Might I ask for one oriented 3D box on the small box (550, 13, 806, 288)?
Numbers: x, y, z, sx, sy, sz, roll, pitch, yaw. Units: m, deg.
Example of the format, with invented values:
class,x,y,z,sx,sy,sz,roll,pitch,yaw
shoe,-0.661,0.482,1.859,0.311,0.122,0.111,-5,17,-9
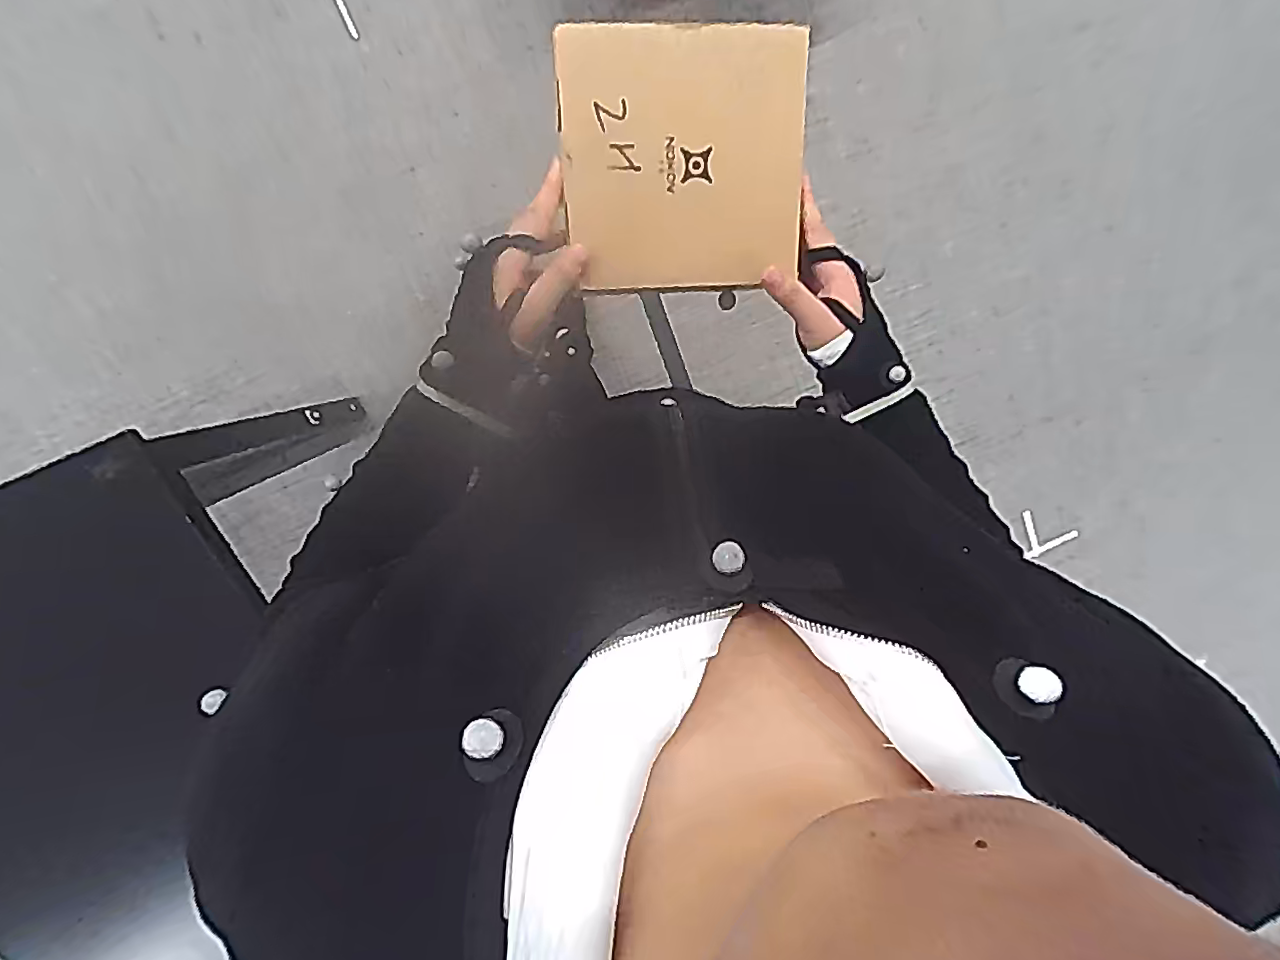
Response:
class,x,y,z,sx,sy,sz,roll,pitch,yaw
small box,0.021,-0.254,0.458,0.179,0.176,0.168,-4,108,-4
